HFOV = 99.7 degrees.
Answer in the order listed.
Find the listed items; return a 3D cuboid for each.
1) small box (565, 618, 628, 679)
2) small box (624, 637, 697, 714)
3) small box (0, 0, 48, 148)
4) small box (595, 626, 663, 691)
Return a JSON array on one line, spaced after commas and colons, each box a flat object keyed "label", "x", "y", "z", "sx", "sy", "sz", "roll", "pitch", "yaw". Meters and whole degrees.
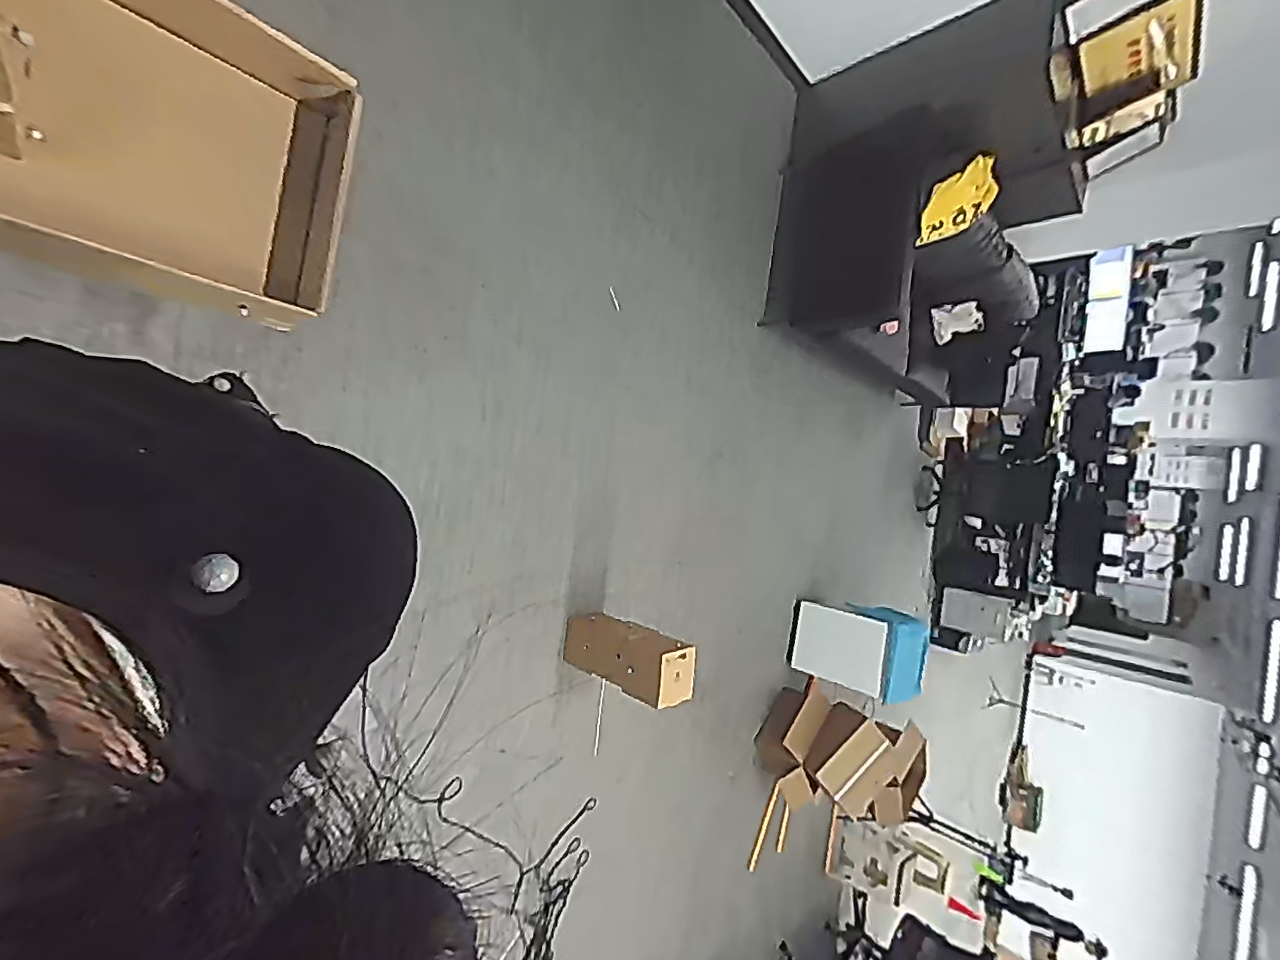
[{"label": "small box", "x": -0.160, "y": 0.615, "z": 2.003, "sx": 0.168, "sy": 0.176, "sz": 0.179, "roll": 8, "pitch": 89, "yaw": -45}, {"label": "small box", "x": 0.063, "y": 0.630, "z": 1.763, "sx": 0.168, "sy": 0.176, "sz": 0.179, "roll": 6, "pitch": 91, "yaw": -45}, {"label": "small box", "x": -0.812, "y": -0.513, "z": 0.610, "sx": 0.179, "sy": 0.176, "sz": 0.168, "roll": 13, "pitch": 85, "yaw": -46}, {"label": "small box", "x": -0.042, "y": 0.616, "z": 1.889, "sx": 0.168, "sy": 0.176, "sz": 0.179, "roll": 8, "pitch": 88, "yaw": -45}]
